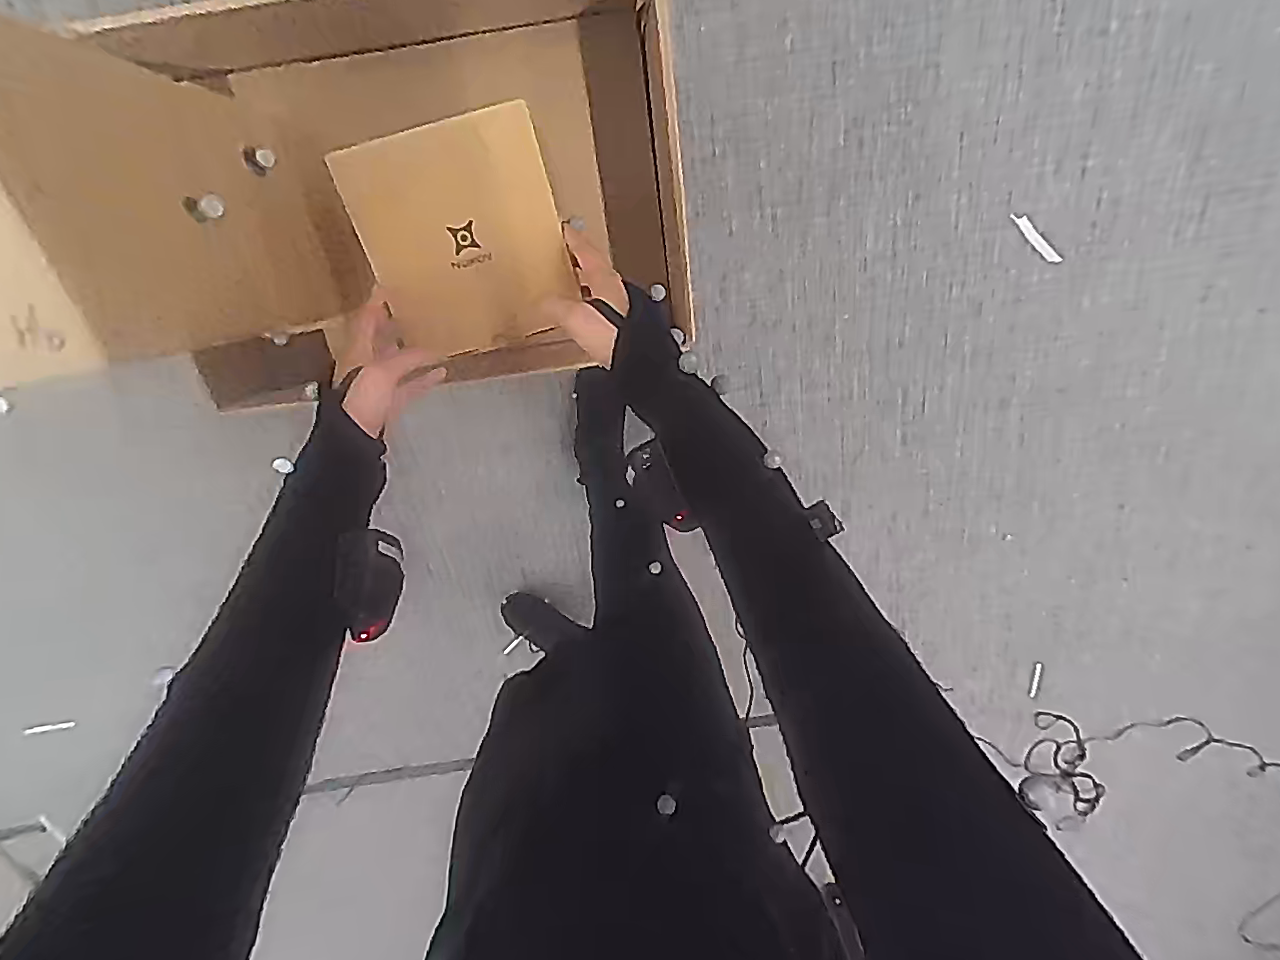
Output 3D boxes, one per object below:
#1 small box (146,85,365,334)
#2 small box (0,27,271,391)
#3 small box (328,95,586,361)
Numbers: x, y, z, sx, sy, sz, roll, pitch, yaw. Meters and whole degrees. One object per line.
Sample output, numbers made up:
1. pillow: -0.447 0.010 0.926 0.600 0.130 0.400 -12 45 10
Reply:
1. small box: -0.389 -0.222 0.494 0.168 0.176 0.179 -10 114 2
2. small box: -0.389 -0.156 0.343 0.168 0.176 0.179 -10 113 2
3. small box: -0.155 -0.235 0.527 0.168 0.176 0.179 -15 115 2
